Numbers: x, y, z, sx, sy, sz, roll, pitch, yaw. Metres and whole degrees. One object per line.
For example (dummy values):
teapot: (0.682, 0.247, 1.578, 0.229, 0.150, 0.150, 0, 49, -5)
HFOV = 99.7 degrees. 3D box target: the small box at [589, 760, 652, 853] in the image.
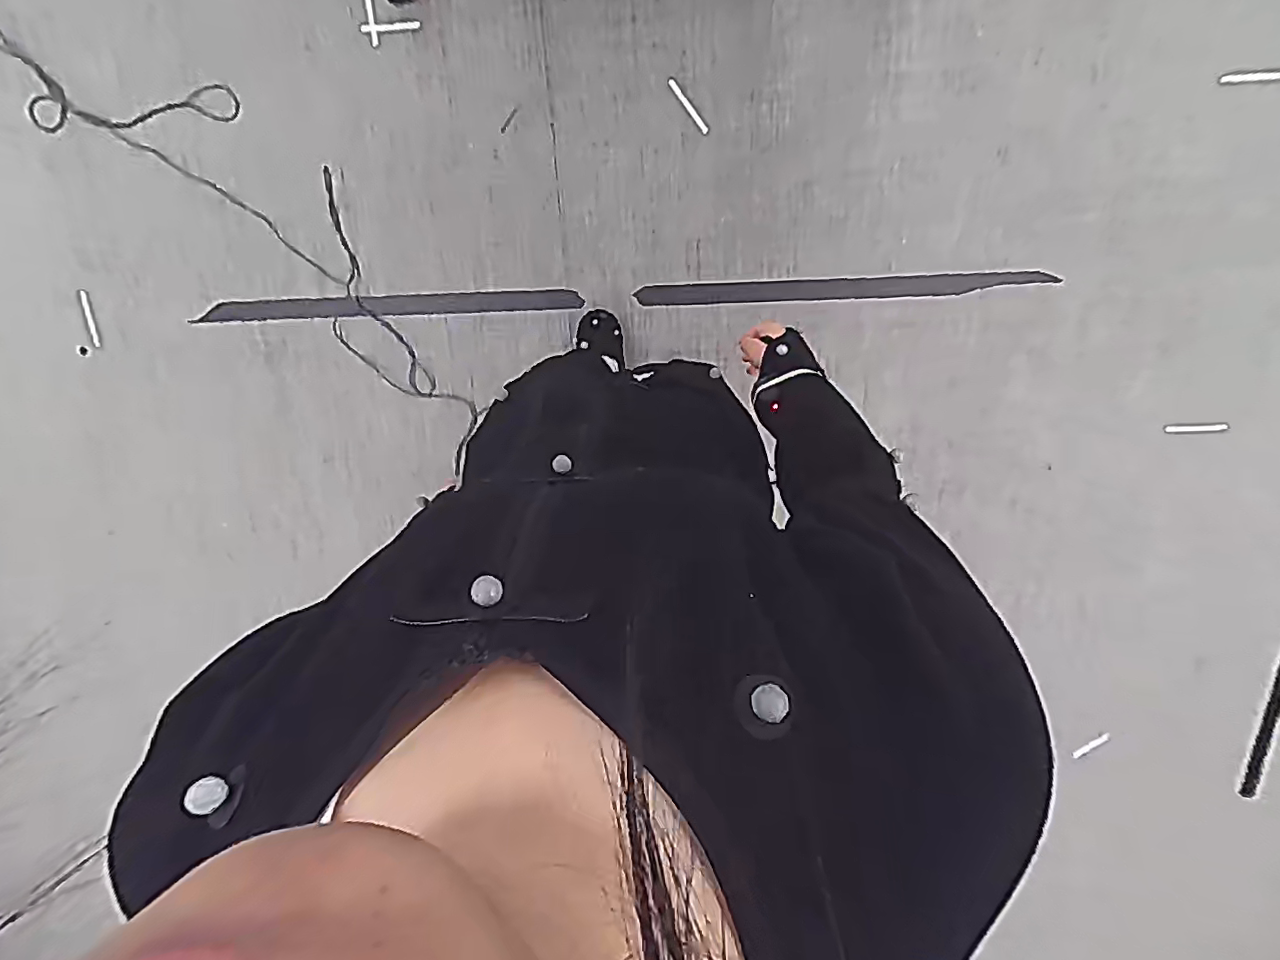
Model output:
small box: (-0.054, 0.994, 1.653, 0.168, 0.176, 0.179, -8, 105, 2)
